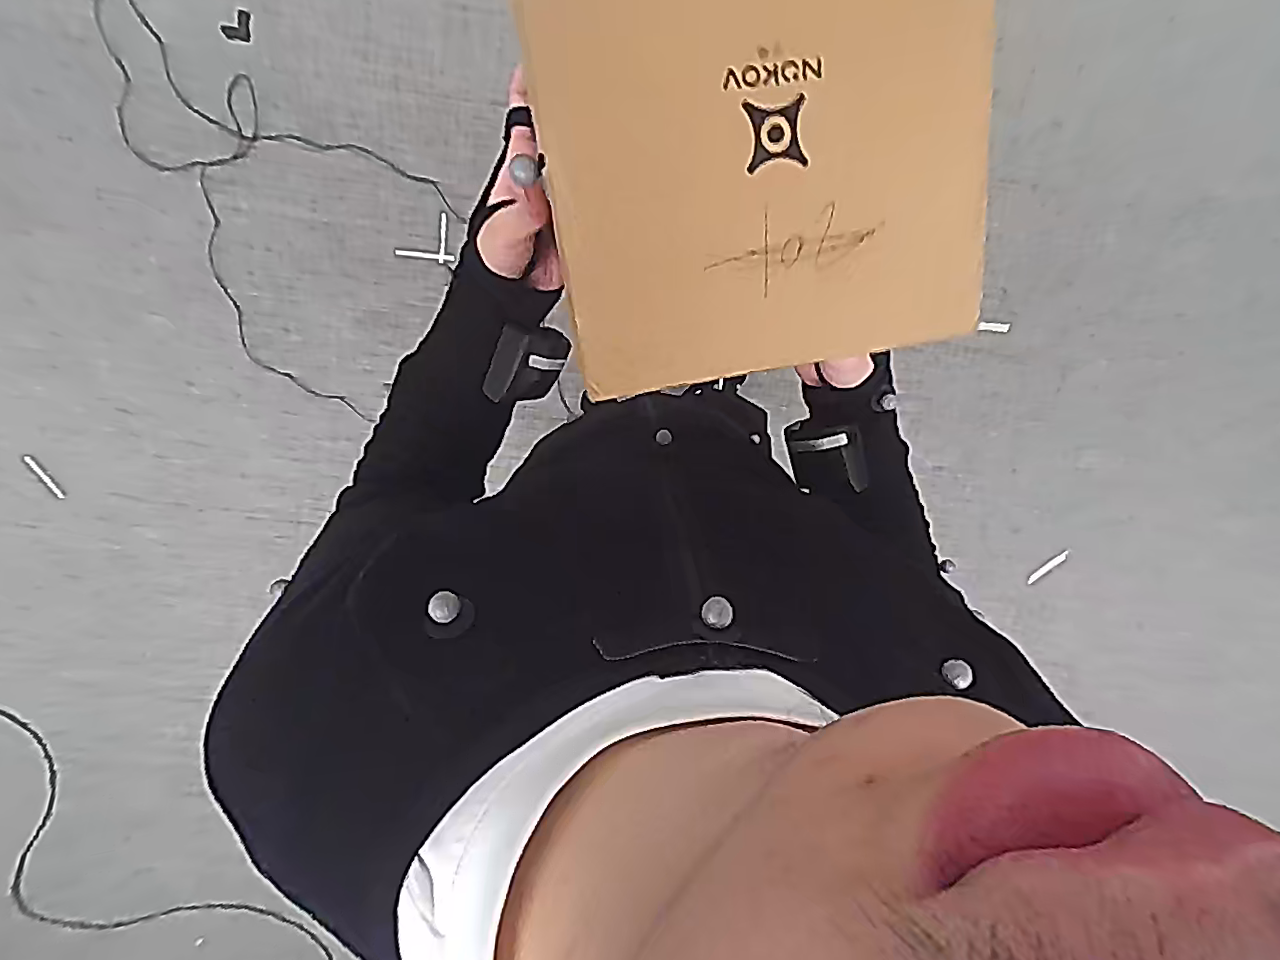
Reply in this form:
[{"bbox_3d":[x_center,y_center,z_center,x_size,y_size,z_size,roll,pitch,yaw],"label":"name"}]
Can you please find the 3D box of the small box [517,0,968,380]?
[{"bbox_3d":[0.036,-0.160,0.280,0.168,0.176,0.179,-13,108,-3],"label":"small box"}]
